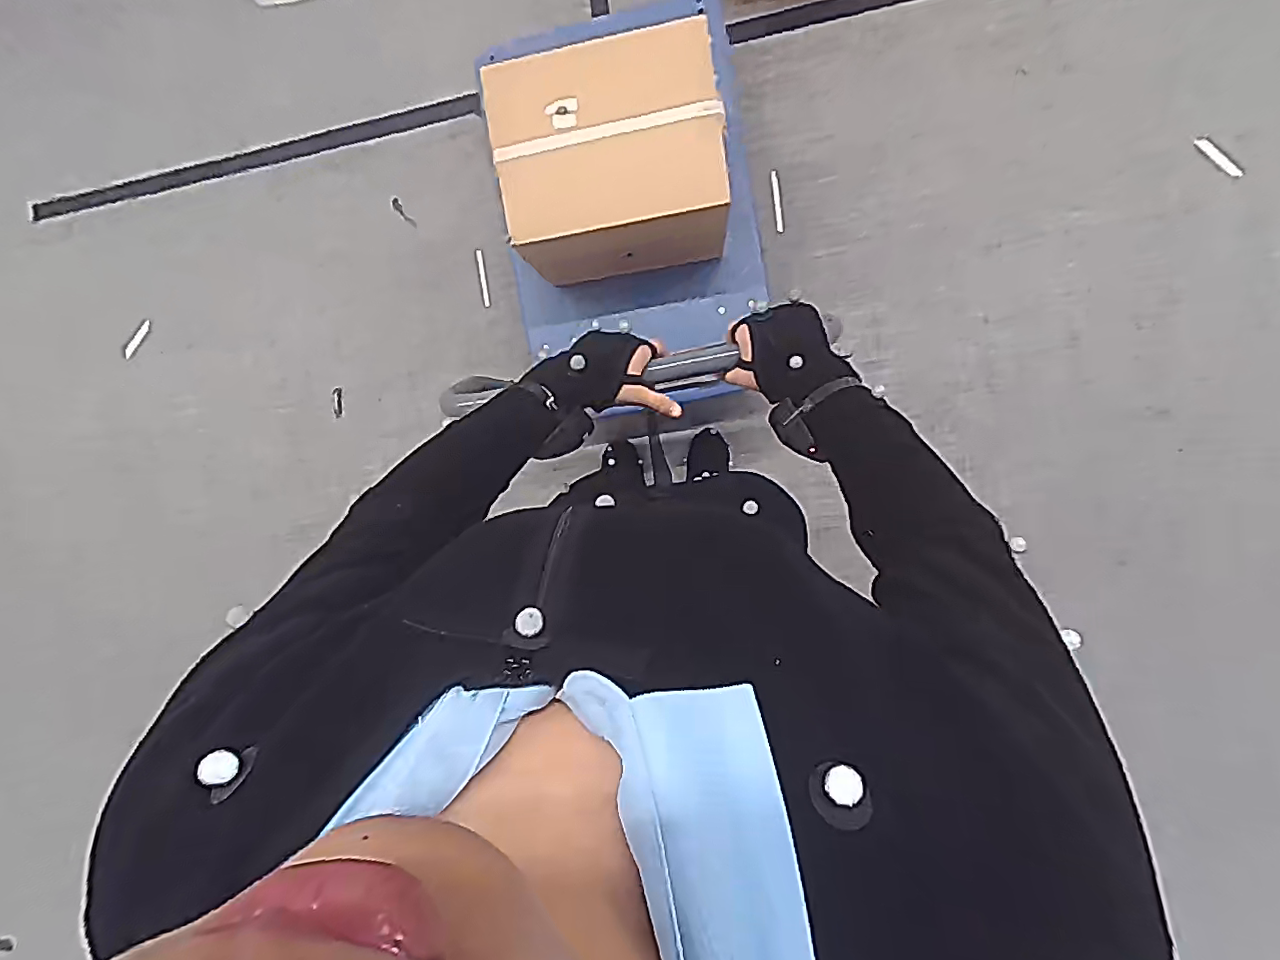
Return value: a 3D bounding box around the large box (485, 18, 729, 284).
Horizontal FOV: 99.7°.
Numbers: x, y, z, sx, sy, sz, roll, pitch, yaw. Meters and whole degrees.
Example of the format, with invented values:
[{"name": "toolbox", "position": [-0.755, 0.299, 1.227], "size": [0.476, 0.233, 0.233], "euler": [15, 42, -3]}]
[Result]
[{"name": "large box", "position": [-0.045, -0.628, 1.108], "size": [0.408, 0.320, 0.320], "euler": [-8, 94, 7]}]
